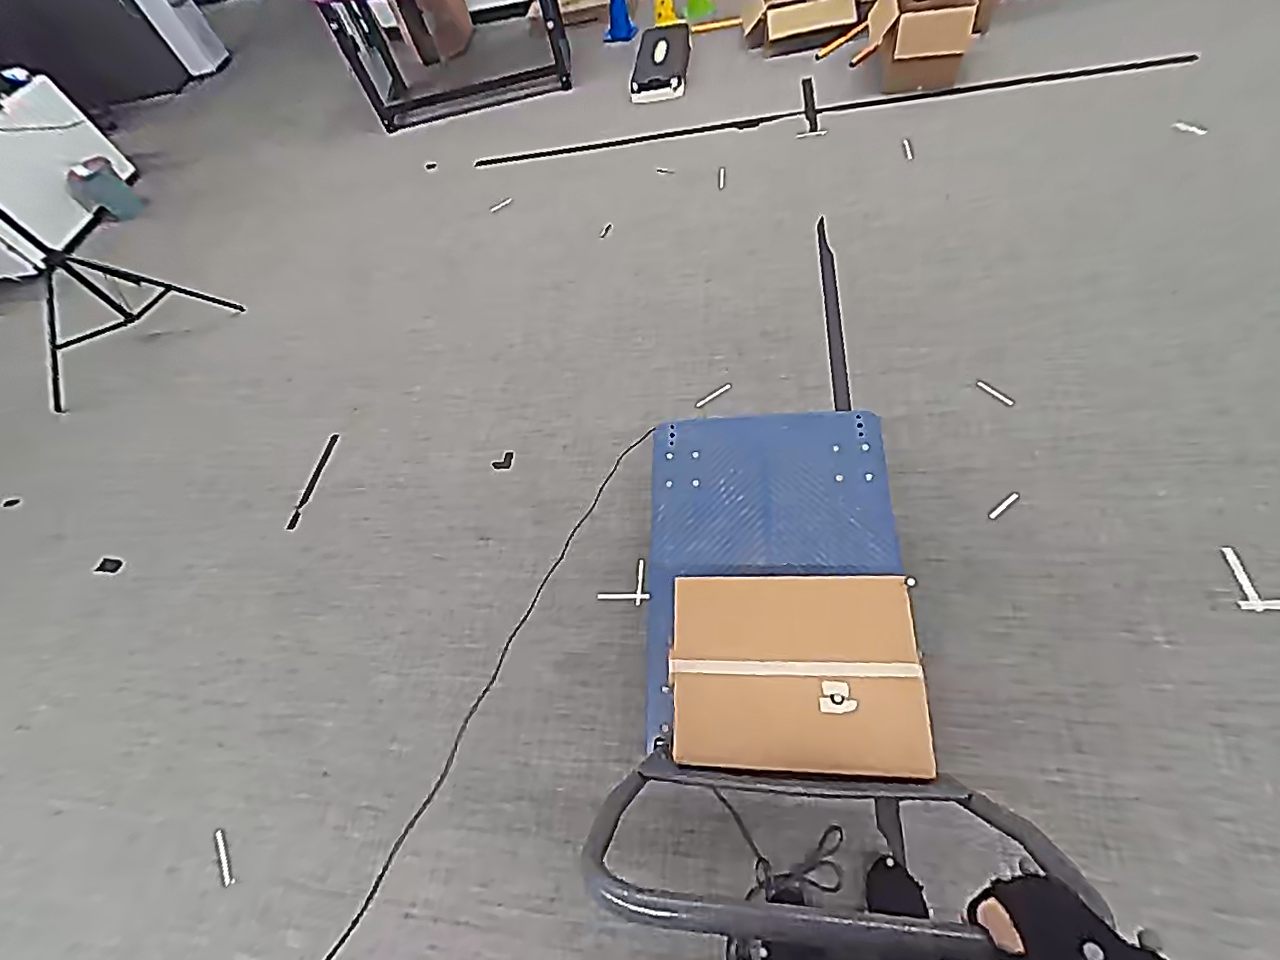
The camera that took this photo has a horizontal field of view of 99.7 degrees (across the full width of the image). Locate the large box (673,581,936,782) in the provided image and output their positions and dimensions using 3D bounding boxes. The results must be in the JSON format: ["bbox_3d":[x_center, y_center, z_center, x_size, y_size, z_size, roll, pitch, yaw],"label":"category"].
[{"bbox_3d":[0.278,0.381,1.037,0.408,0.320,0.320,-2,68,10],"label":"large box"}]
